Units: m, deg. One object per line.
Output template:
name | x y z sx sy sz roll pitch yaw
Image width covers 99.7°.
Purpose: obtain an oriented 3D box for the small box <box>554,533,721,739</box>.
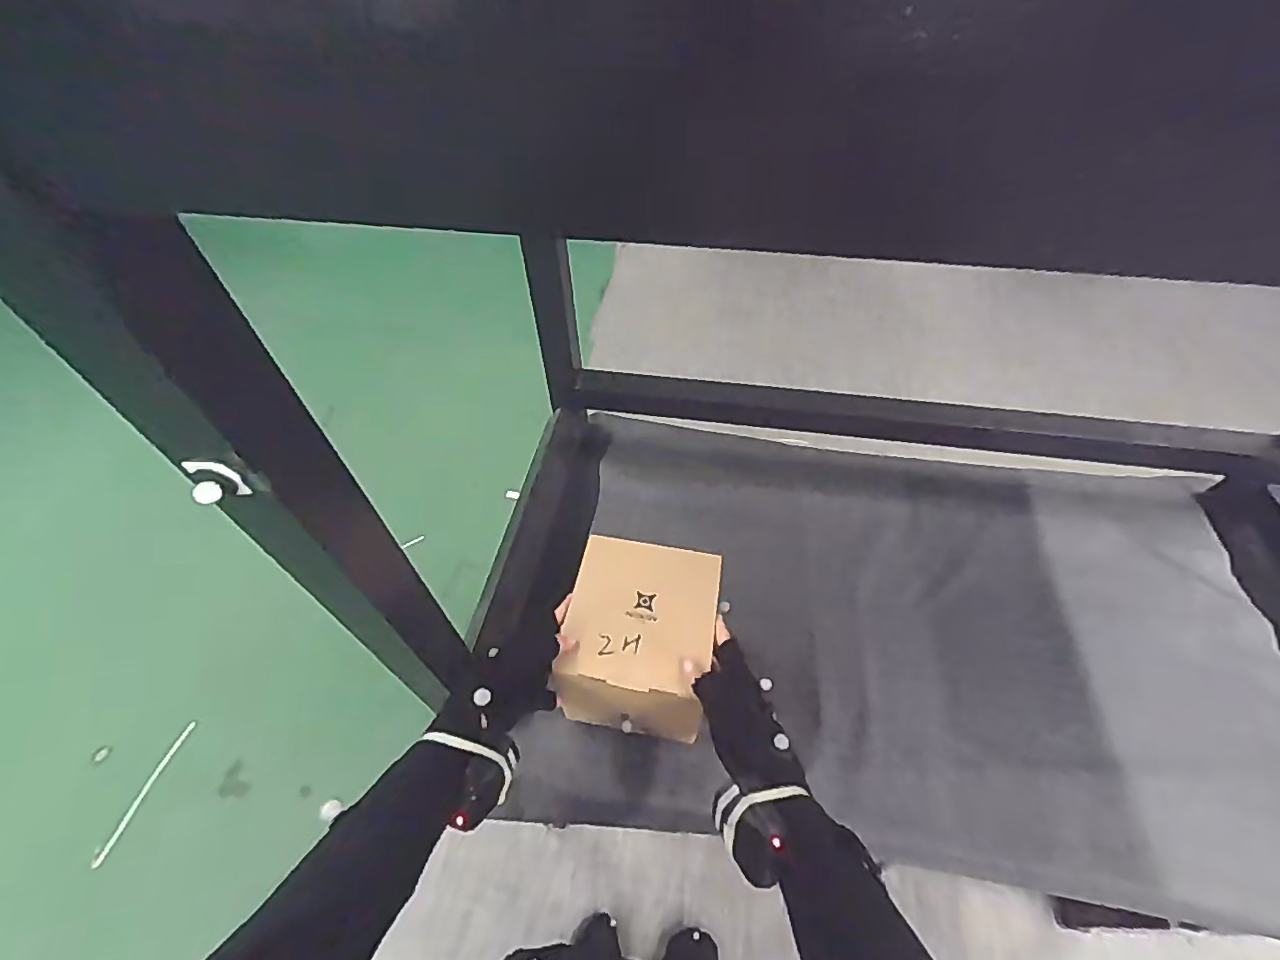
small box | 0.001 0.195 0.672 0.168 0.176 0.179 9 51 6
